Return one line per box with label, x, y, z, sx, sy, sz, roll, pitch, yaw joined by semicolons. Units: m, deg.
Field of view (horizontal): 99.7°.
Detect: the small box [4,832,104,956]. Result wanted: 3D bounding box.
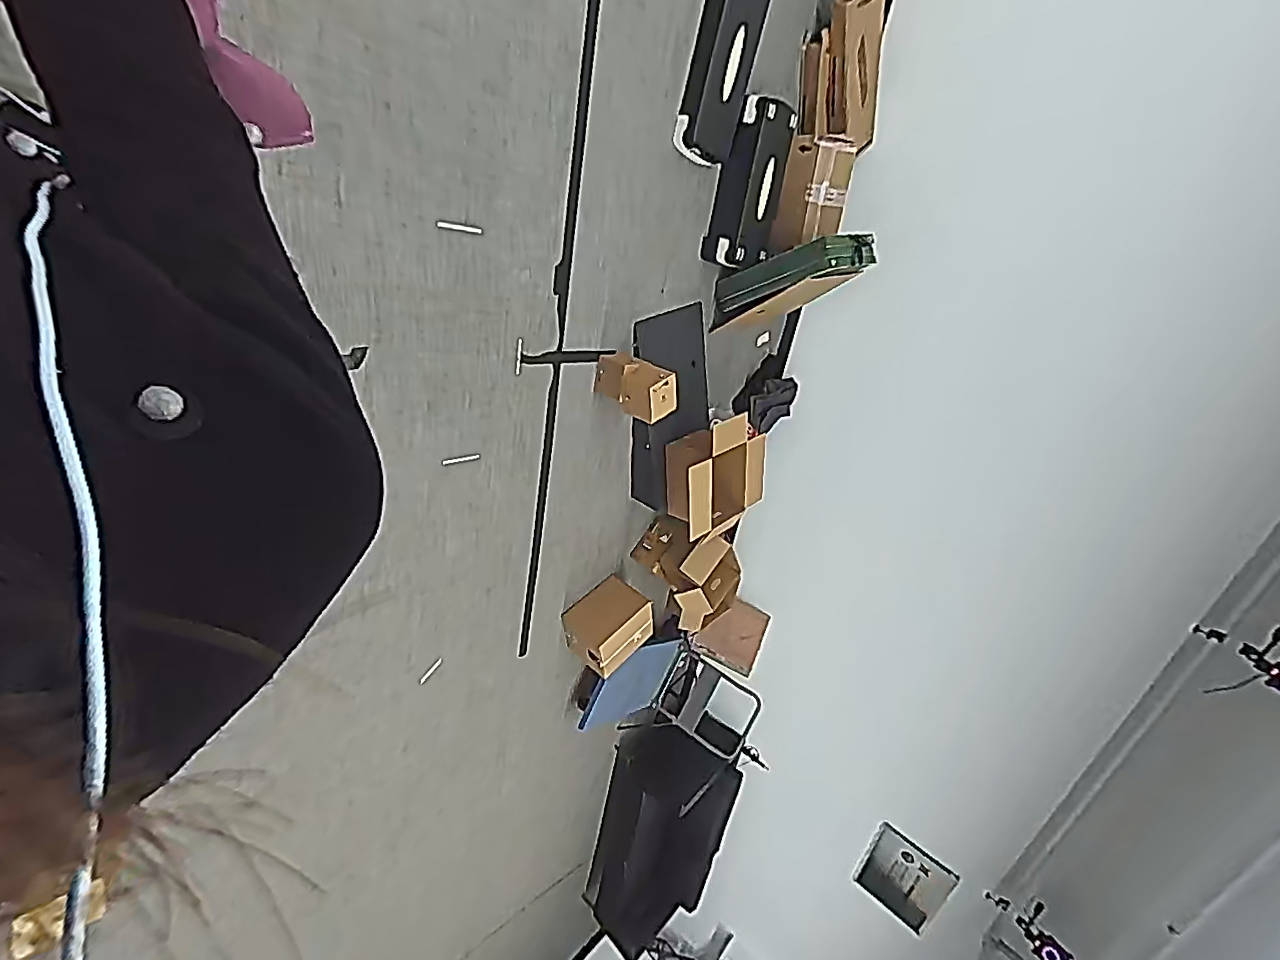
small box;-1.641;1.149;1.514;0.179;0.176;0.168;-9;120;-52
